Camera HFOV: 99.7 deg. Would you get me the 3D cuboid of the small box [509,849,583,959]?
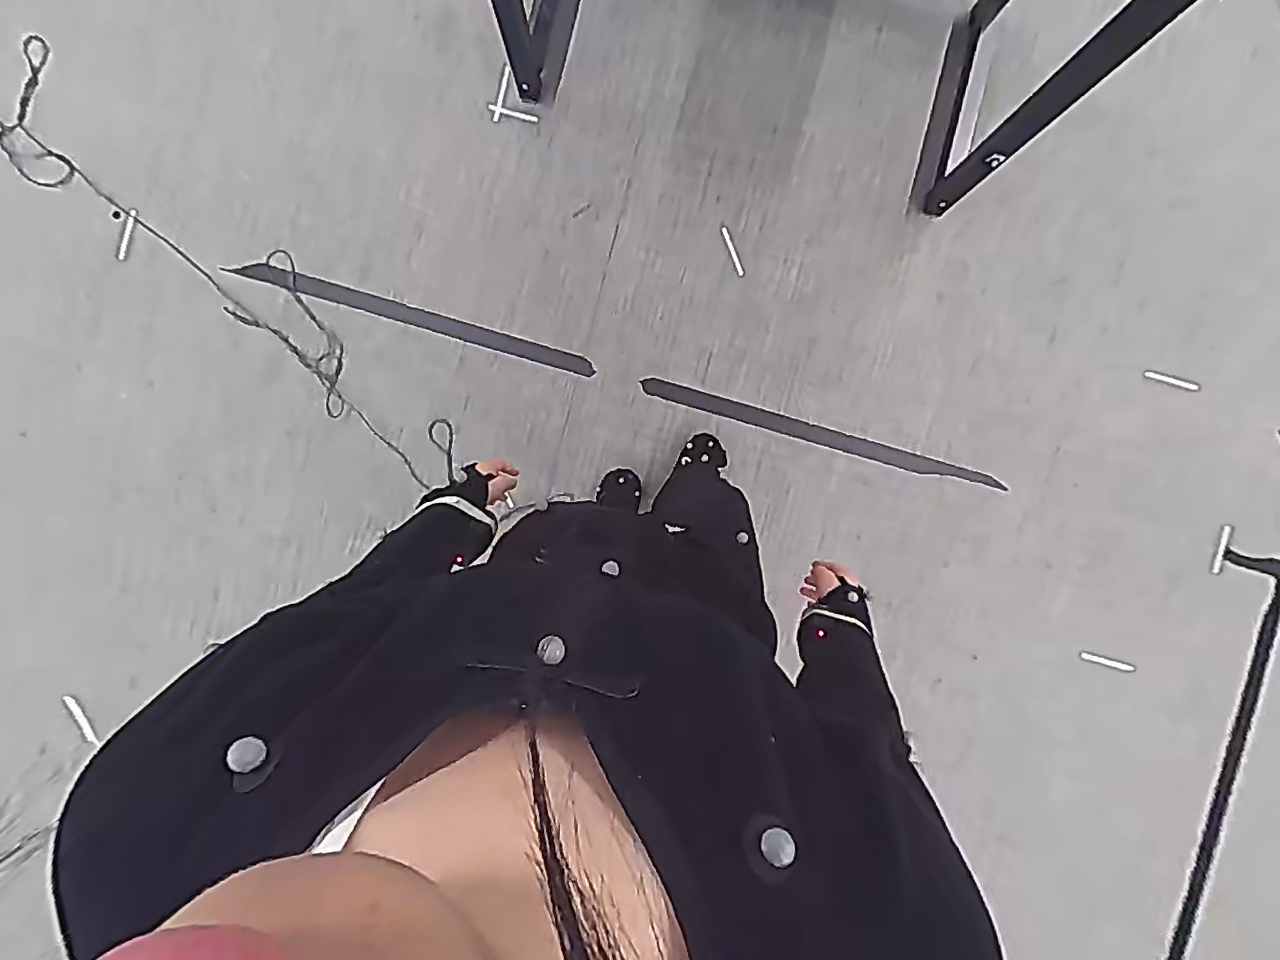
[{"bbox_3d":[-0.239,1.094,1.402,0.168,0.176,0.179,2,90,-2],"label":"small box"}]
